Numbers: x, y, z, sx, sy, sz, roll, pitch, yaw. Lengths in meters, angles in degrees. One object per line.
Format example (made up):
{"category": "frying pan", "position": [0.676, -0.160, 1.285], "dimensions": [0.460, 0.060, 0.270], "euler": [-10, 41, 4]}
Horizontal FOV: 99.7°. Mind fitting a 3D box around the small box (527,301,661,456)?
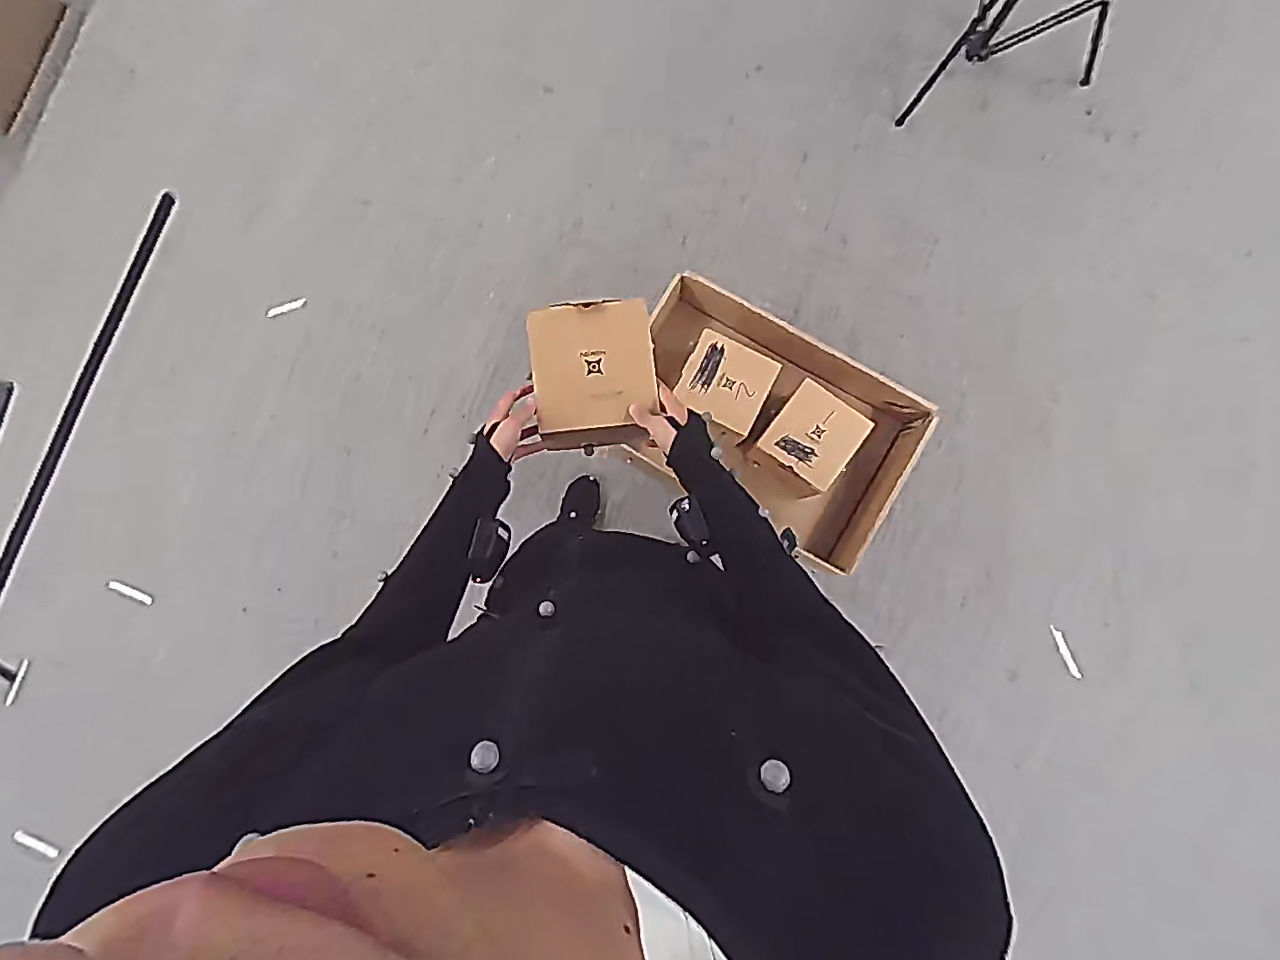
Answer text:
{"category": "small box", "position": [-0.070, -0.141, 0.798], "dimensions": [0.168, 0.176, 0.179], "euler": [-7, 84, -6]}
